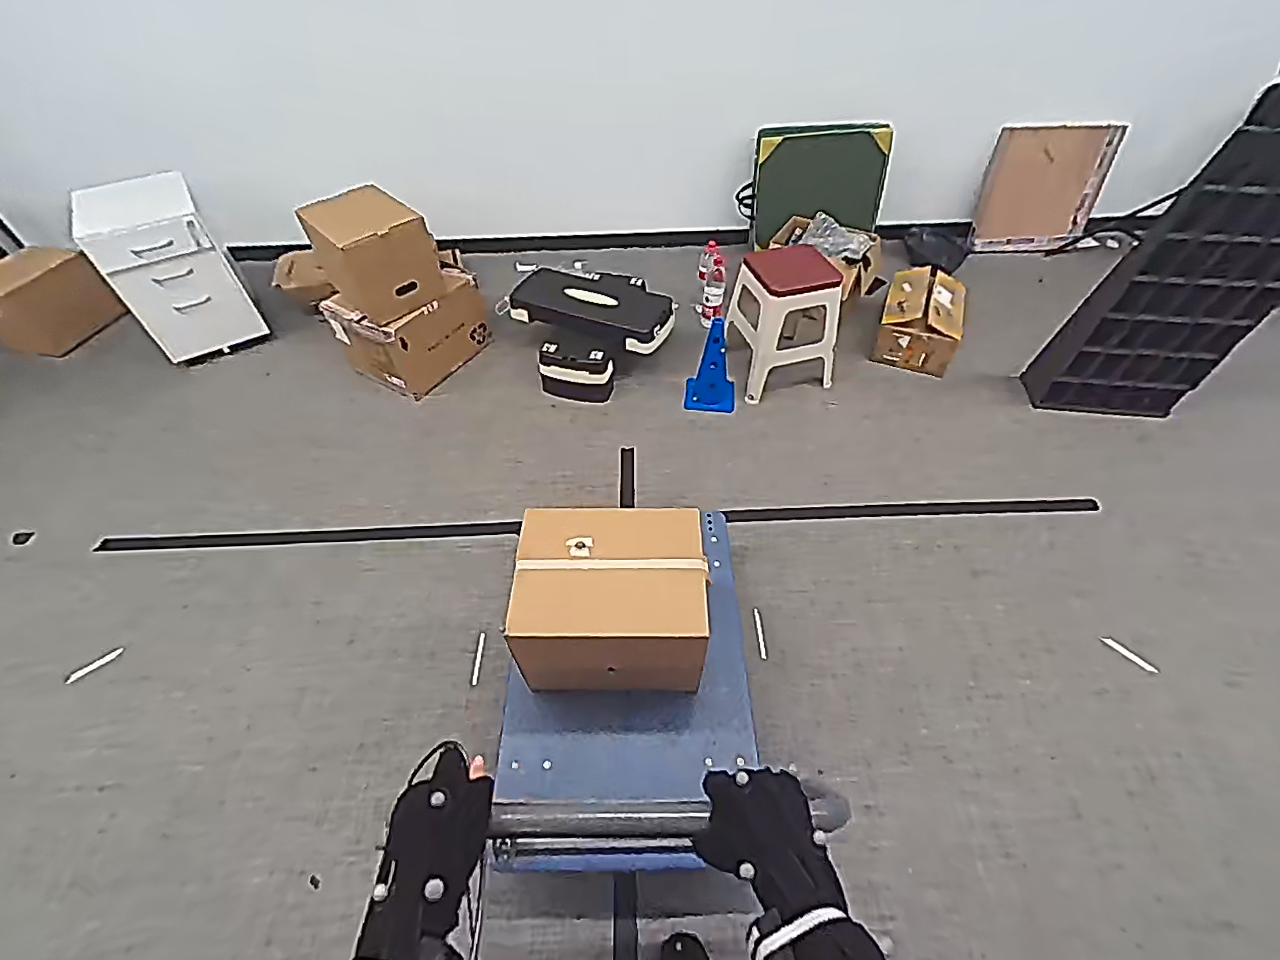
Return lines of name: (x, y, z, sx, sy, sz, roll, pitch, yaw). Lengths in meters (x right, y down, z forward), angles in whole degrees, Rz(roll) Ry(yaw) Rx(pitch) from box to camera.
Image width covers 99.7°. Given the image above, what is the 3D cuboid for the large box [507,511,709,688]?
large box: (-0.059, 0.287, 1.266, 0.408, 0.320, 0.320, 0, 50, 1)
